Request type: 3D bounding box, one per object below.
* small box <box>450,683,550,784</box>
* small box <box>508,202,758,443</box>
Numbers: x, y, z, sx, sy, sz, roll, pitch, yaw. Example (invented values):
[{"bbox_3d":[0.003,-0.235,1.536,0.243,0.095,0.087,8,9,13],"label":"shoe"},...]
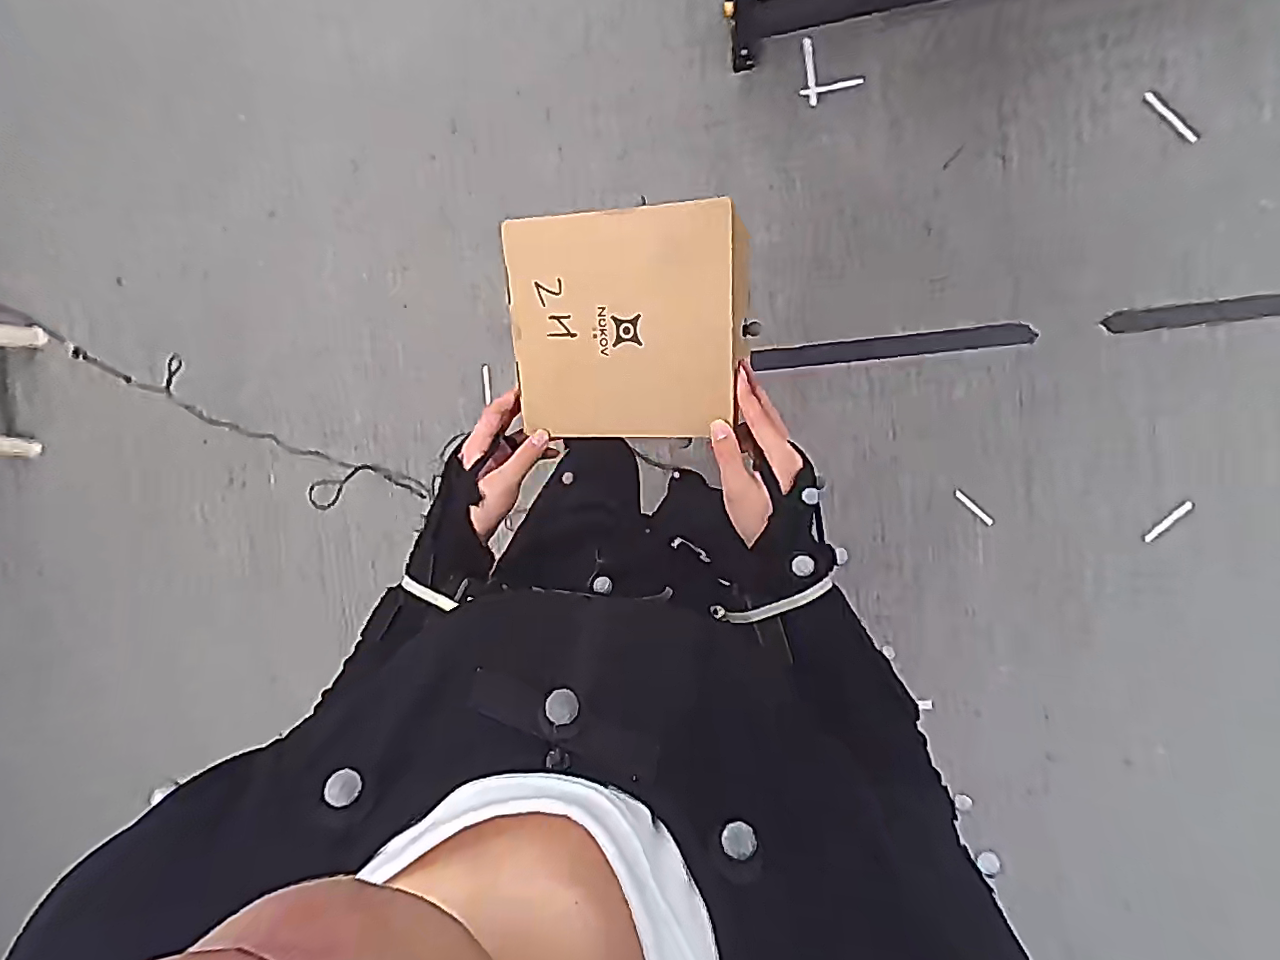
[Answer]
[{"bbox_3d":[-0.349,0.639,1.376,0.179,0.176,0.168,-12,92,9],"label":"small box"},{"bbox_3d":[0.009,-0.131,0.470,0.179,0.176,0.168,2,106,15],"label":"small box"}]
